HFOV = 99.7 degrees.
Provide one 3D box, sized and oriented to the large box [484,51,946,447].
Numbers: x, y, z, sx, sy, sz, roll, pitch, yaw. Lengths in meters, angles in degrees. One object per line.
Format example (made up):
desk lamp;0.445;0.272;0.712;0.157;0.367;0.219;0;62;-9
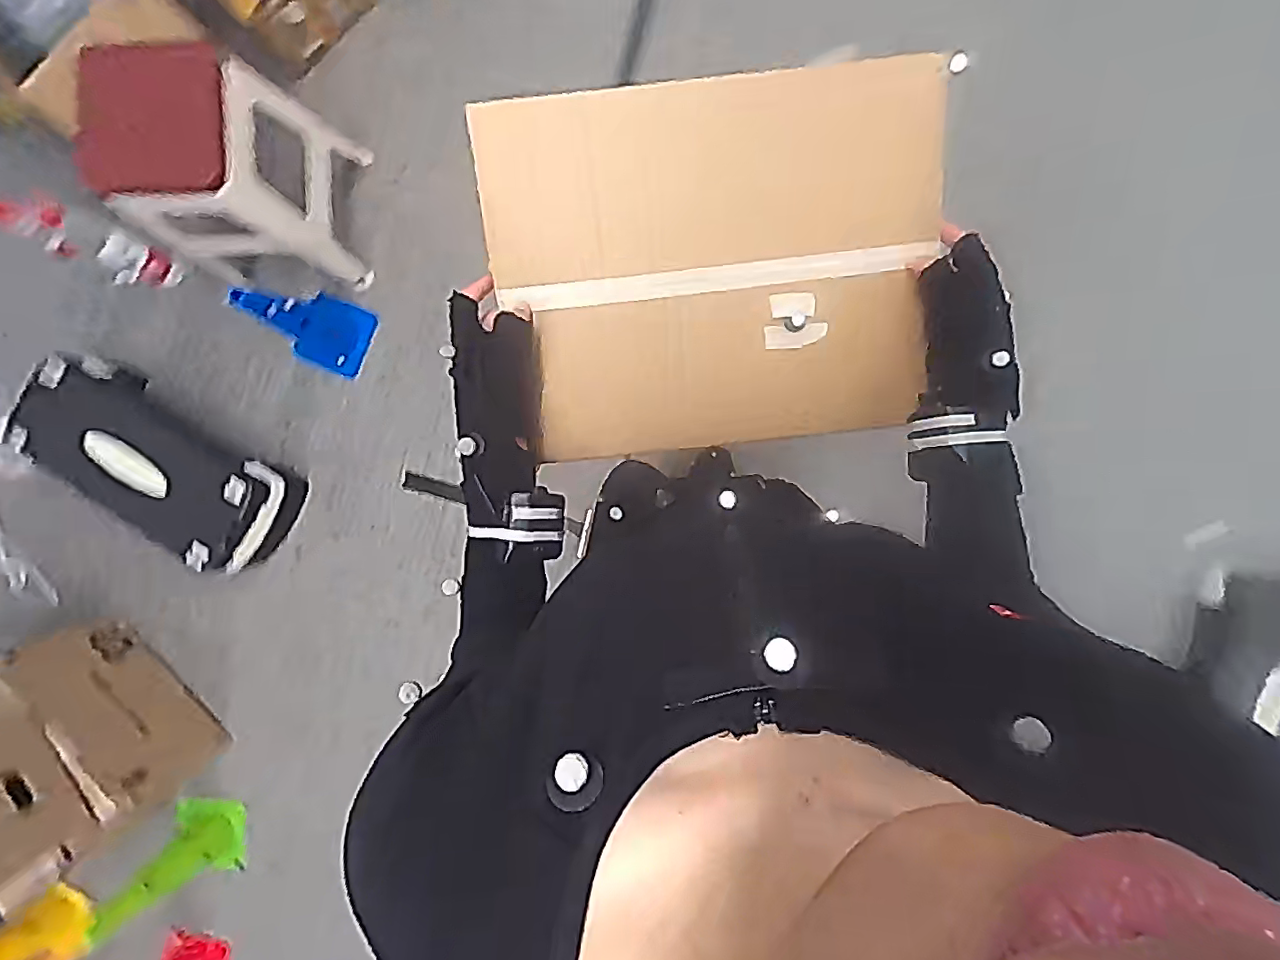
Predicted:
large box;0.071;-0.239;0.642;0.408;0.320;0.320;-5;107;0
